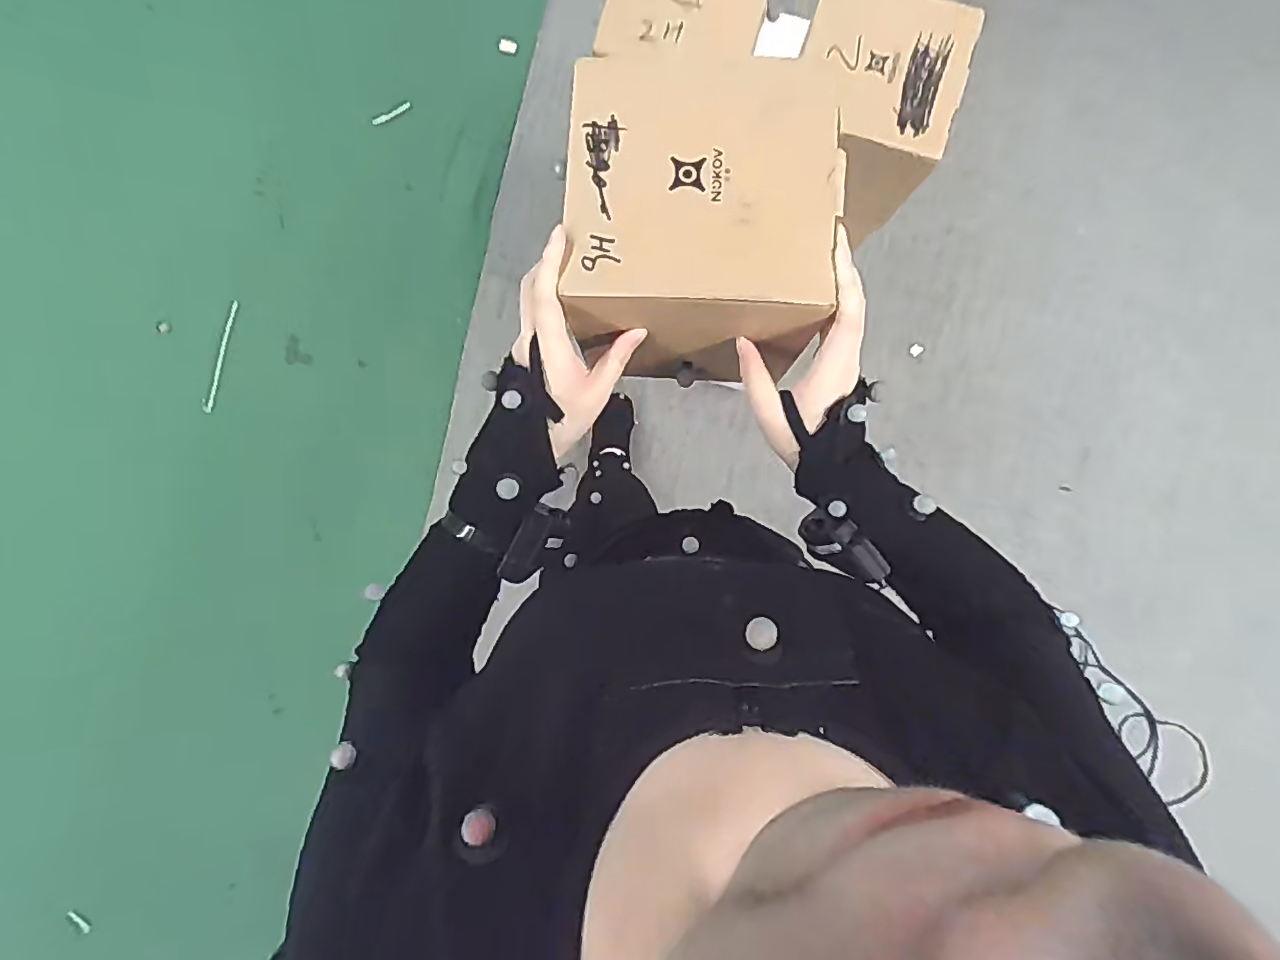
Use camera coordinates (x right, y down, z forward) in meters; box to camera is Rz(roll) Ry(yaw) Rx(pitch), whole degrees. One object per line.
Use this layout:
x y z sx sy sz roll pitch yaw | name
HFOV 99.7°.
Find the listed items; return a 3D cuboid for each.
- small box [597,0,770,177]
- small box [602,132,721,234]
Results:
0.052 -0.513 0.654 0.168 0.176 0.179 16 90 0 | small box
0.046 -0.510 0.818 0.168 0.176 0.179 15 91 0 | small box
